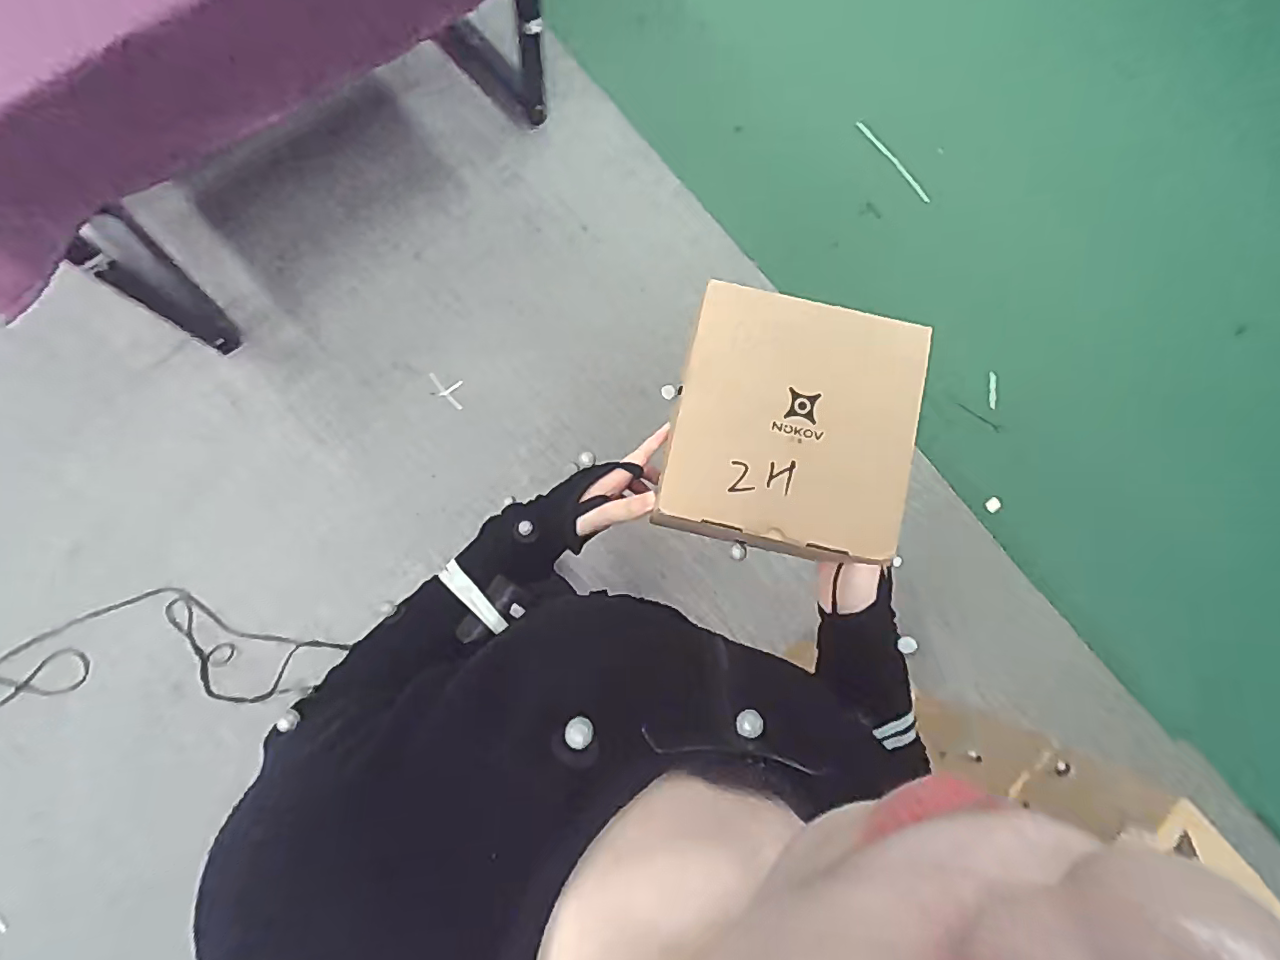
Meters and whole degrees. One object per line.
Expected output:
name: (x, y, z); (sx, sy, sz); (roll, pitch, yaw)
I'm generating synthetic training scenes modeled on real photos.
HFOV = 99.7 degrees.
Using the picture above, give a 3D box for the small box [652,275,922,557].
small box: (0.105, -0.037, 0.455); (0.168, 0.176, 0.179); (12, 82, 2)
